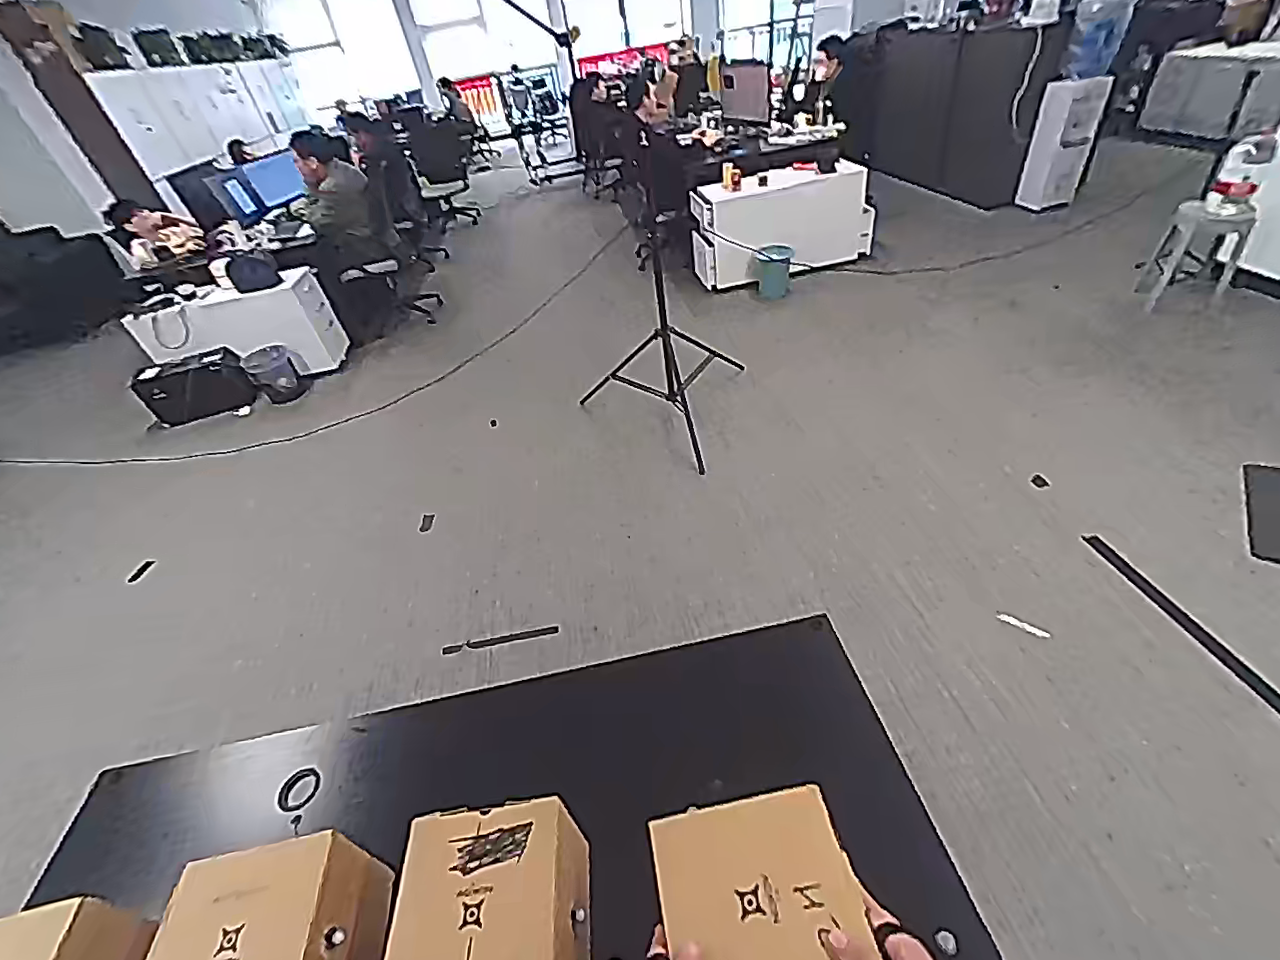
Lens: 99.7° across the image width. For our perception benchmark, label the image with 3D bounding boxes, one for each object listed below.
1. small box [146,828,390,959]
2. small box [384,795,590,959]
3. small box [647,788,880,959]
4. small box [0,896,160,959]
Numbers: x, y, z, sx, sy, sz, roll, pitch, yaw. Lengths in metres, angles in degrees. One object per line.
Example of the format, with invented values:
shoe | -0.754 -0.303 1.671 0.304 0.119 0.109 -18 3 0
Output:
small box | -0.397 0.519 0.587 0.168 0.176 0.179 -12 39 -3
small box | -0.151 0.475 0.584 0.168 0.176 0.179 -9 40 1
small box | 0.114 0.437 0.528 0.179 0.176 0.168 -11 40 -3
small box | -0.652 0.576 0.569 0.179 0.176 0.168 -12 39 -4
